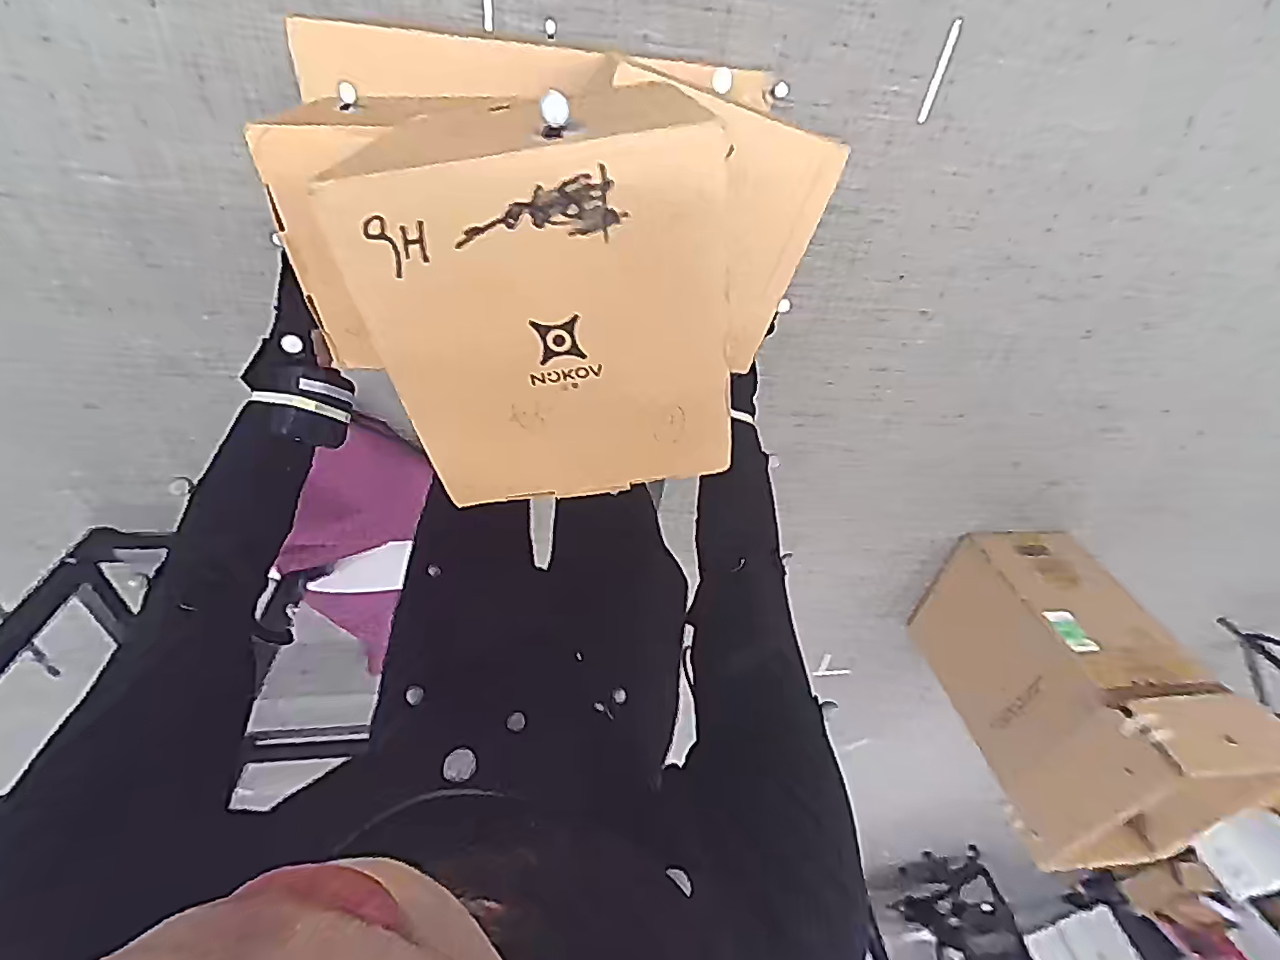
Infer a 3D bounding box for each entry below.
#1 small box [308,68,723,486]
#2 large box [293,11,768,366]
[{"bbox_3d":[-0.047,-0.123,0.324,0.168,0.176,0.179,-8,131,0],"label":"small box"},{"bbox_3d":[-0.110,-0.347,0.661,0.408,0.320,0.320,0,130,-8],"label":"large box"}]
